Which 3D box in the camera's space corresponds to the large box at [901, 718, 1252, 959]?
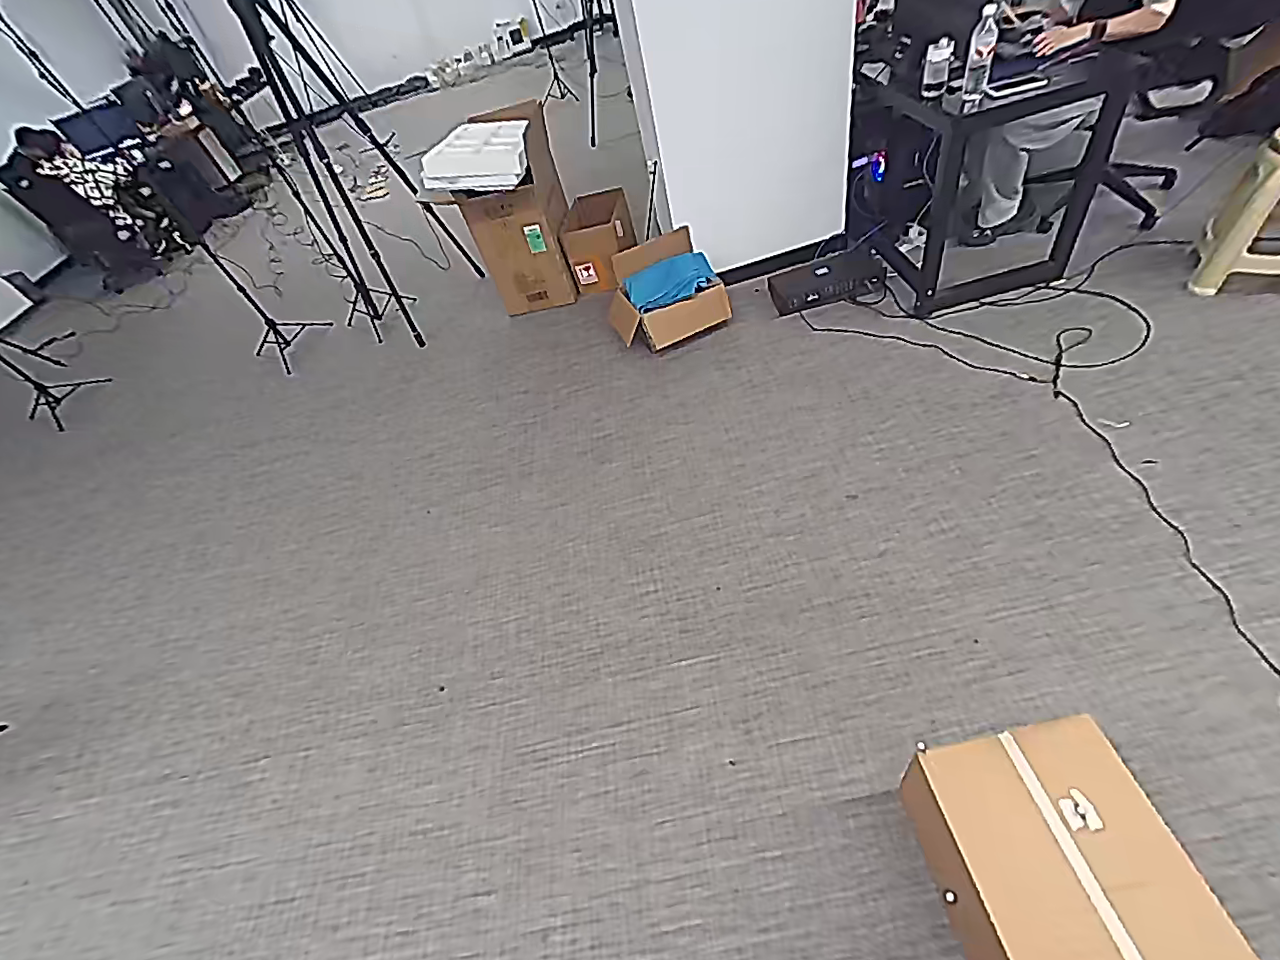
[{"bbox_3d":[0.721,0.709,0.965,0.320,0.320,0.408,-15,46,4],"label":"large box"}]
